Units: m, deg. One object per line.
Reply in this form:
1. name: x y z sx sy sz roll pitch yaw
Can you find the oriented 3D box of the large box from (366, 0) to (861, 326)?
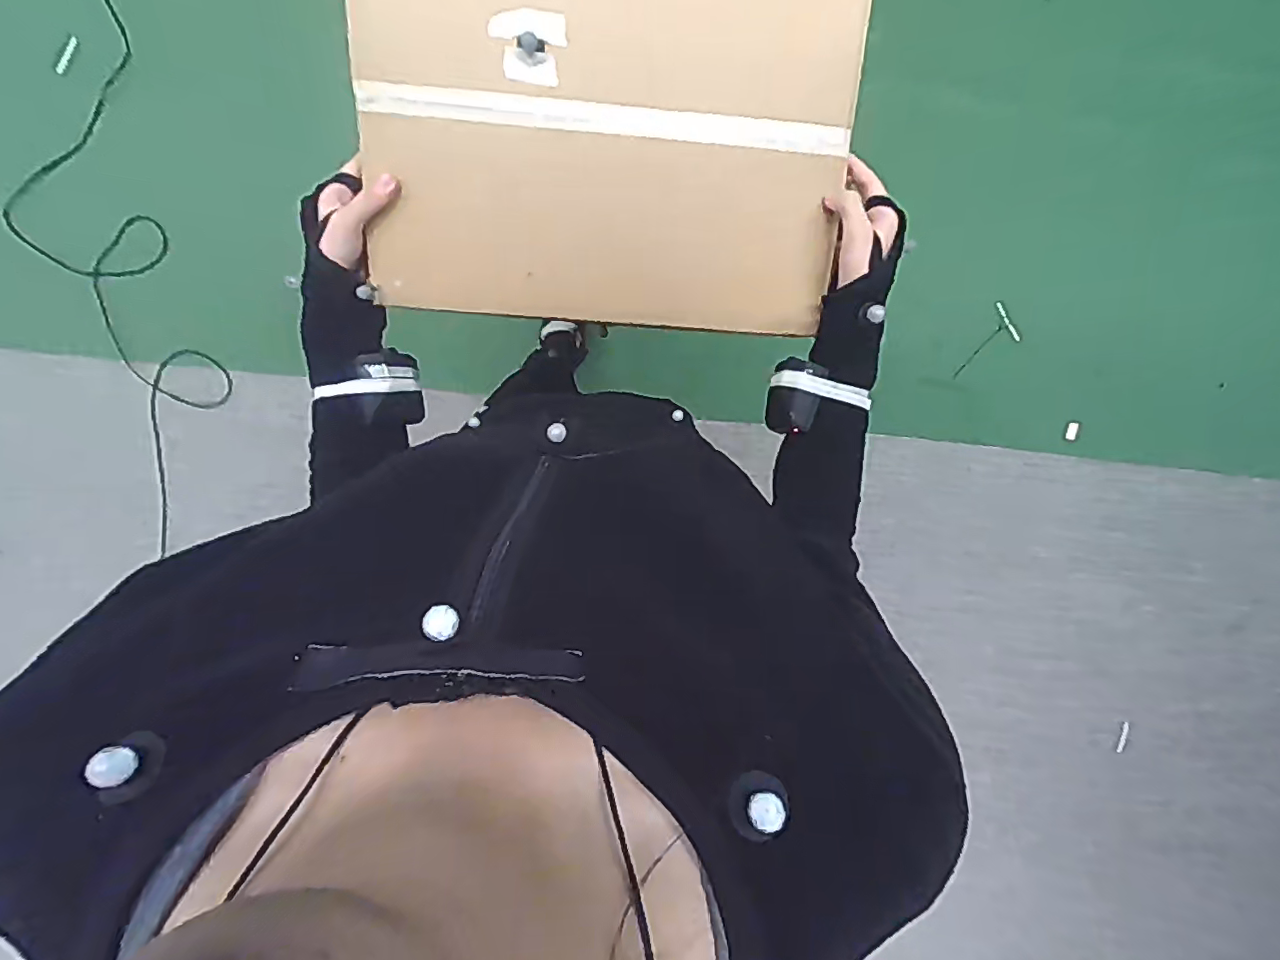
1. large box: -0.029 -0.348 0.600 0.408 0.320 0.320 3 106 -4
